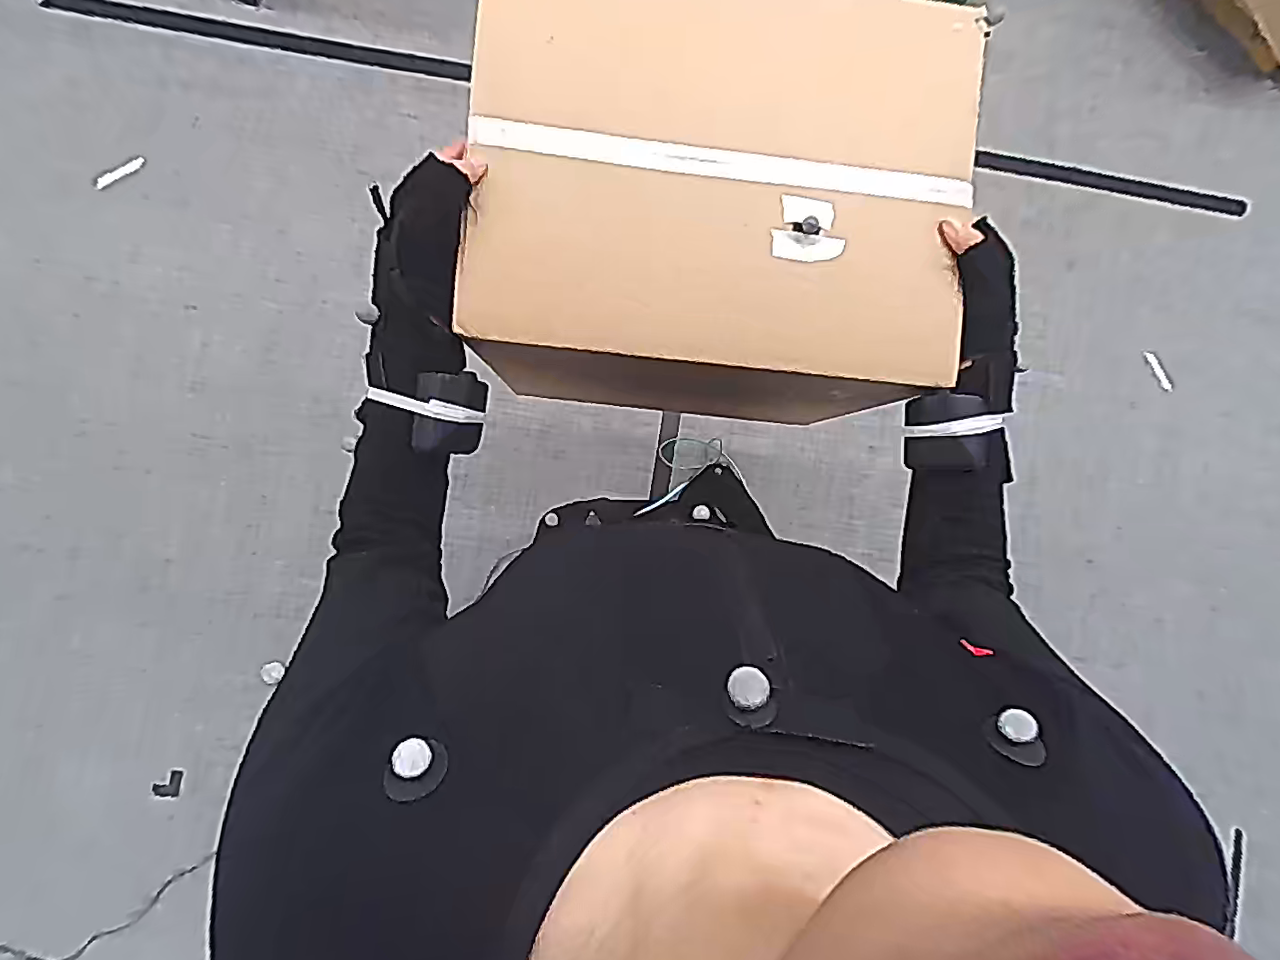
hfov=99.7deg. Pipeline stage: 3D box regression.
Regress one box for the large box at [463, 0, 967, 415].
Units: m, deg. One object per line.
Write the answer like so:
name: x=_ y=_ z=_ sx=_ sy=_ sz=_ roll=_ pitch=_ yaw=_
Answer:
large box: x=0.053 y=-0.254 z=0.585 sx=0.408 sy=0.320 sz=0.320 roll=5 pitch=91 yaw=-5
